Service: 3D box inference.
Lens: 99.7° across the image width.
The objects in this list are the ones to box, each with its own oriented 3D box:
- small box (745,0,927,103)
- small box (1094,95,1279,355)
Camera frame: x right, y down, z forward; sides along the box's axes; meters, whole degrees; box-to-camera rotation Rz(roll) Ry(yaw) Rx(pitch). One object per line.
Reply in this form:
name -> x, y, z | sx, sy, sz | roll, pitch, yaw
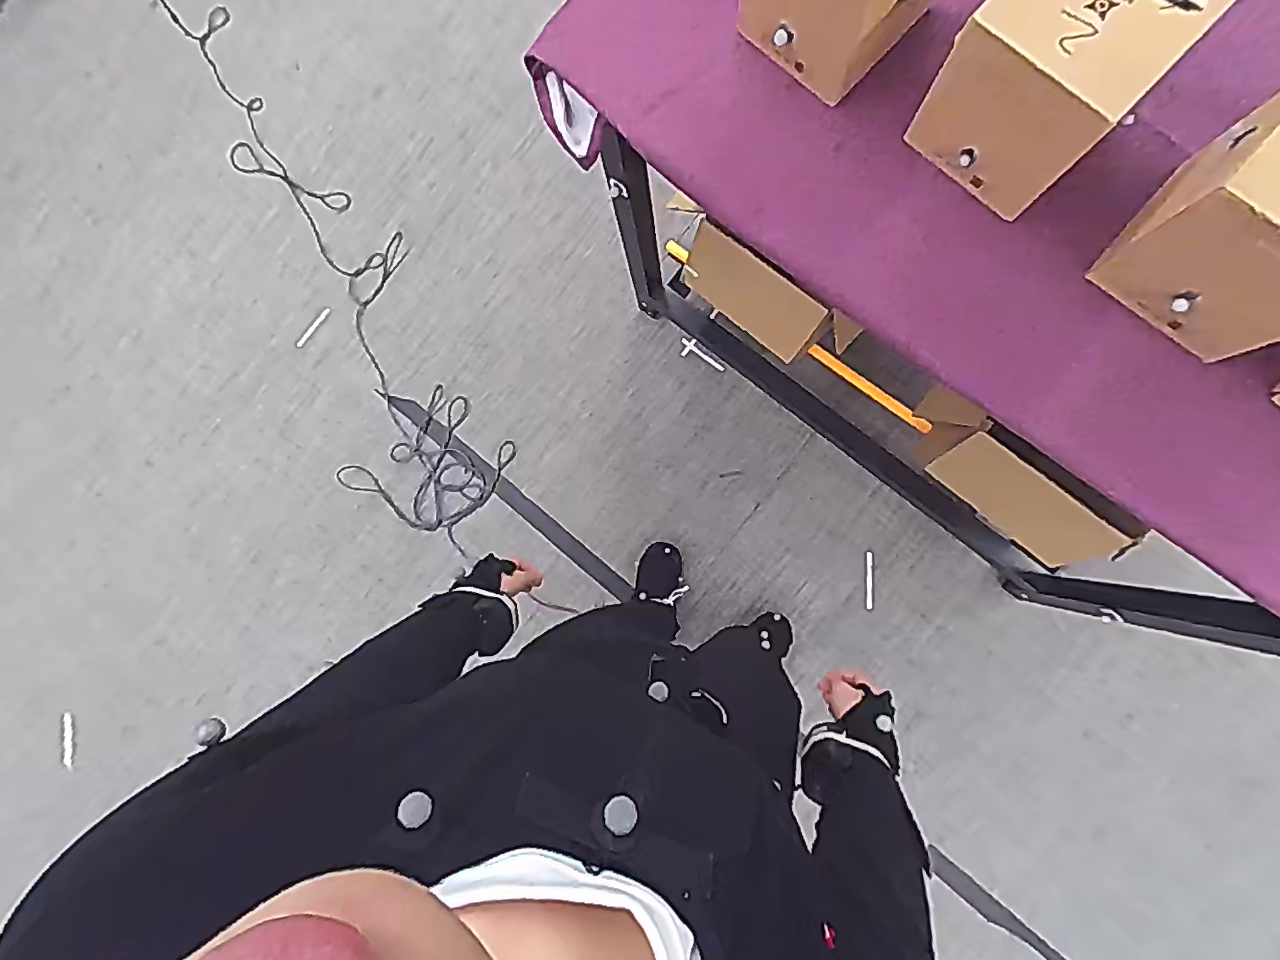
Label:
small box -> 0.233, -0.584, 0.600 | 0.168, 0.176, 0.179 | 45, 92, 7
small box -> 0.625, -0.259, 0.541 | 0.168, 0.176, 0.179 | 42, 90, 8
